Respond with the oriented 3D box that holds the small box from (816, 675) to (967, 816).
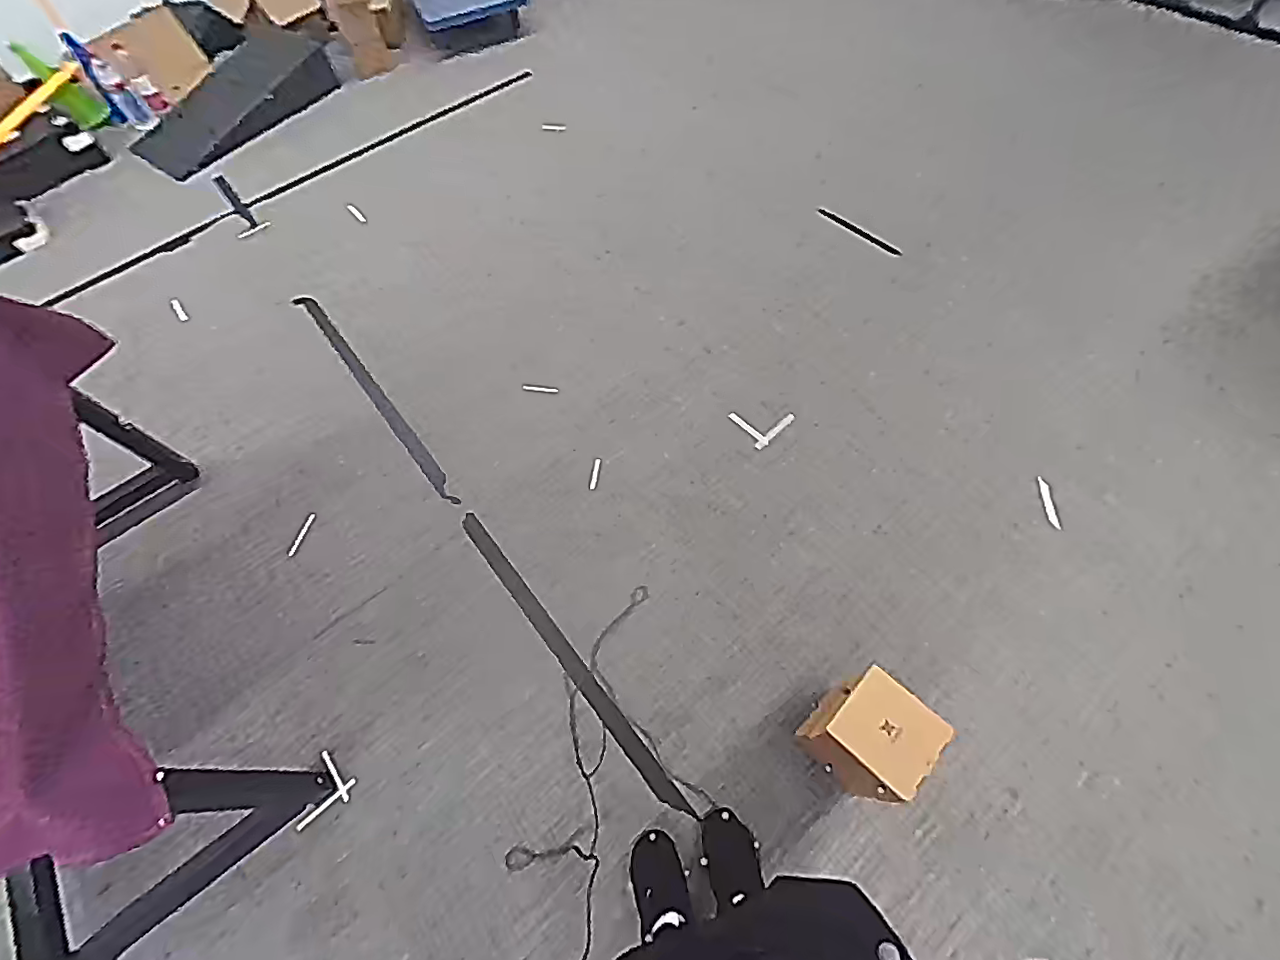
[{"bbox_3d":[0.476,0.499,1.024,0.168,0.176,0.179,45,54,5],"label":"small box"}]
